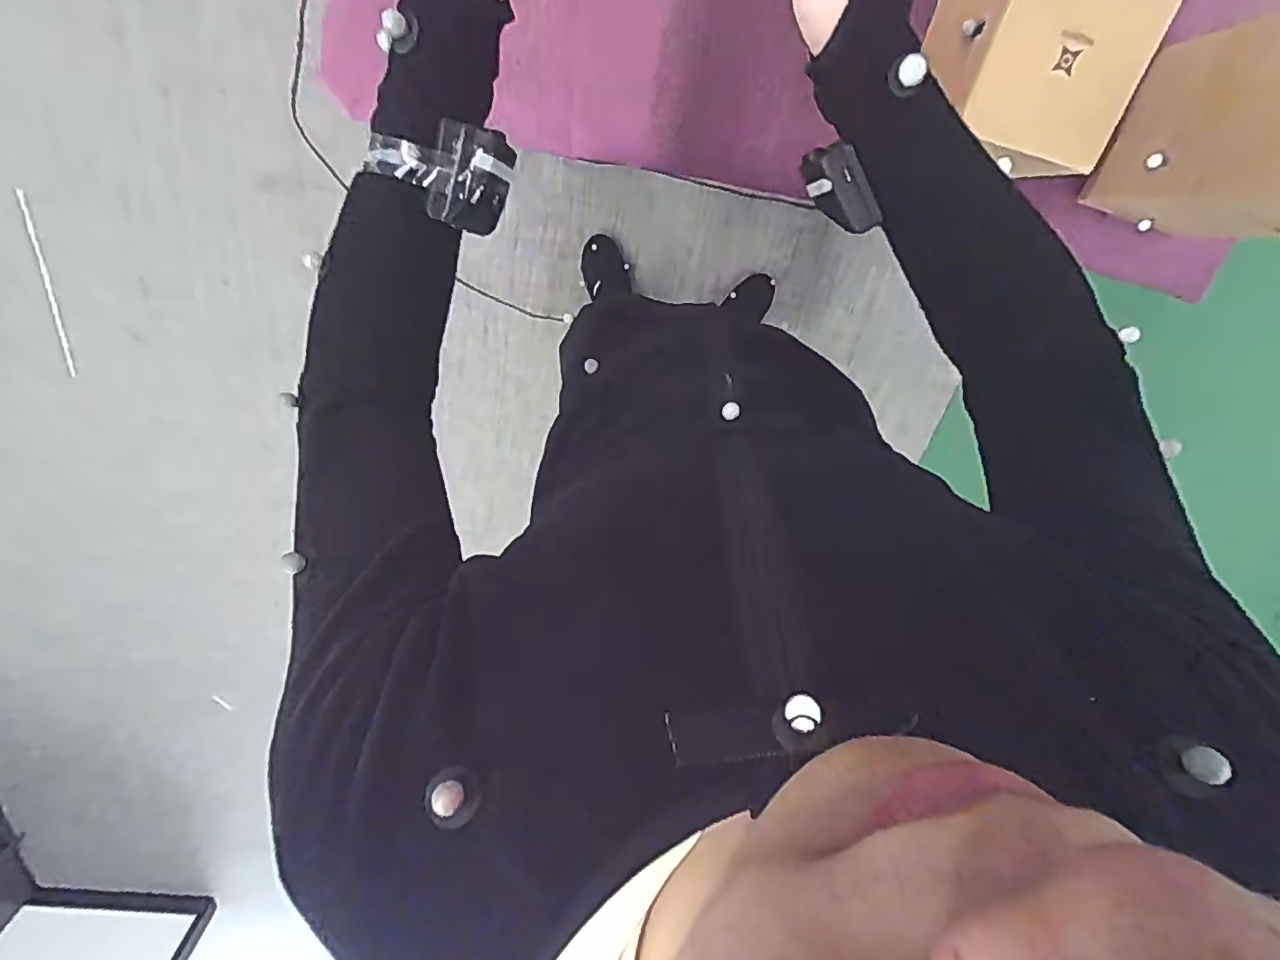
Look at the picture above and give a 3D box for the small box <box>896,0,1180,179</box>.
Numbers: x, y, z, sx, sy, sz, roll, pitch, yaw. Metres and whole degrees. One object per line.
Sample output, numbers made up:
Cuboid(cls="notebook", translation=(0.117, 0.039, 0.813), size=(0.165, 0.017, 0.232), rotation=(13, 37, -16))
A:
Cuboid(cls="small box", translation=(0.419, -0.455, 0.605), size=(0.168, 0.176, 0.179), rotation=(11, 114, -7))
